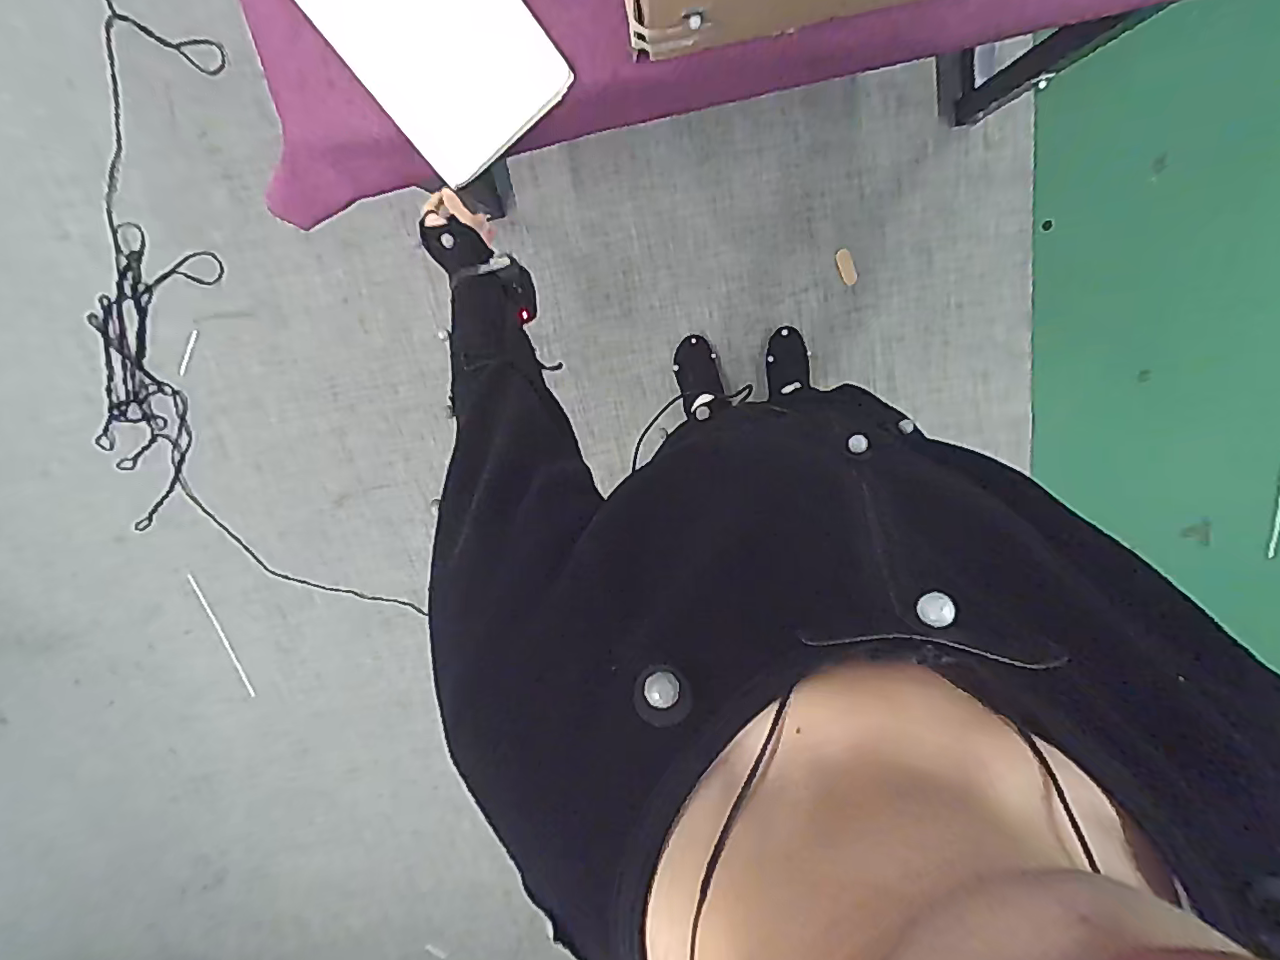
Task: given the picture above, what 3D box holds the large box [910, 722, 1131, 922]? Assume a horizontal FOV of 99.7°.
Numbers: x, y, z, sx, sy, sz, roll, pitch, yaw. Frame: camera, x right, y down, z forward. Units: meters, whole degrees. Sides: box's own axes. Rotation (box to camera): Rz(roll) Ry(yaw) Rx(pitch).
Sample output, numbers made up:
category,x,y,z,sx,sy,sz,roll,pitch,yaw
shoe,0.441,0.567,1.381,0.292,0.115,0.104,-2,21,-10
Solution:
category,x,y,z,sx,sy,sz,roll,pitch,yaw
large box,1.111,1.008,1.620,0.408,0.320,0.320,-24,105,8
